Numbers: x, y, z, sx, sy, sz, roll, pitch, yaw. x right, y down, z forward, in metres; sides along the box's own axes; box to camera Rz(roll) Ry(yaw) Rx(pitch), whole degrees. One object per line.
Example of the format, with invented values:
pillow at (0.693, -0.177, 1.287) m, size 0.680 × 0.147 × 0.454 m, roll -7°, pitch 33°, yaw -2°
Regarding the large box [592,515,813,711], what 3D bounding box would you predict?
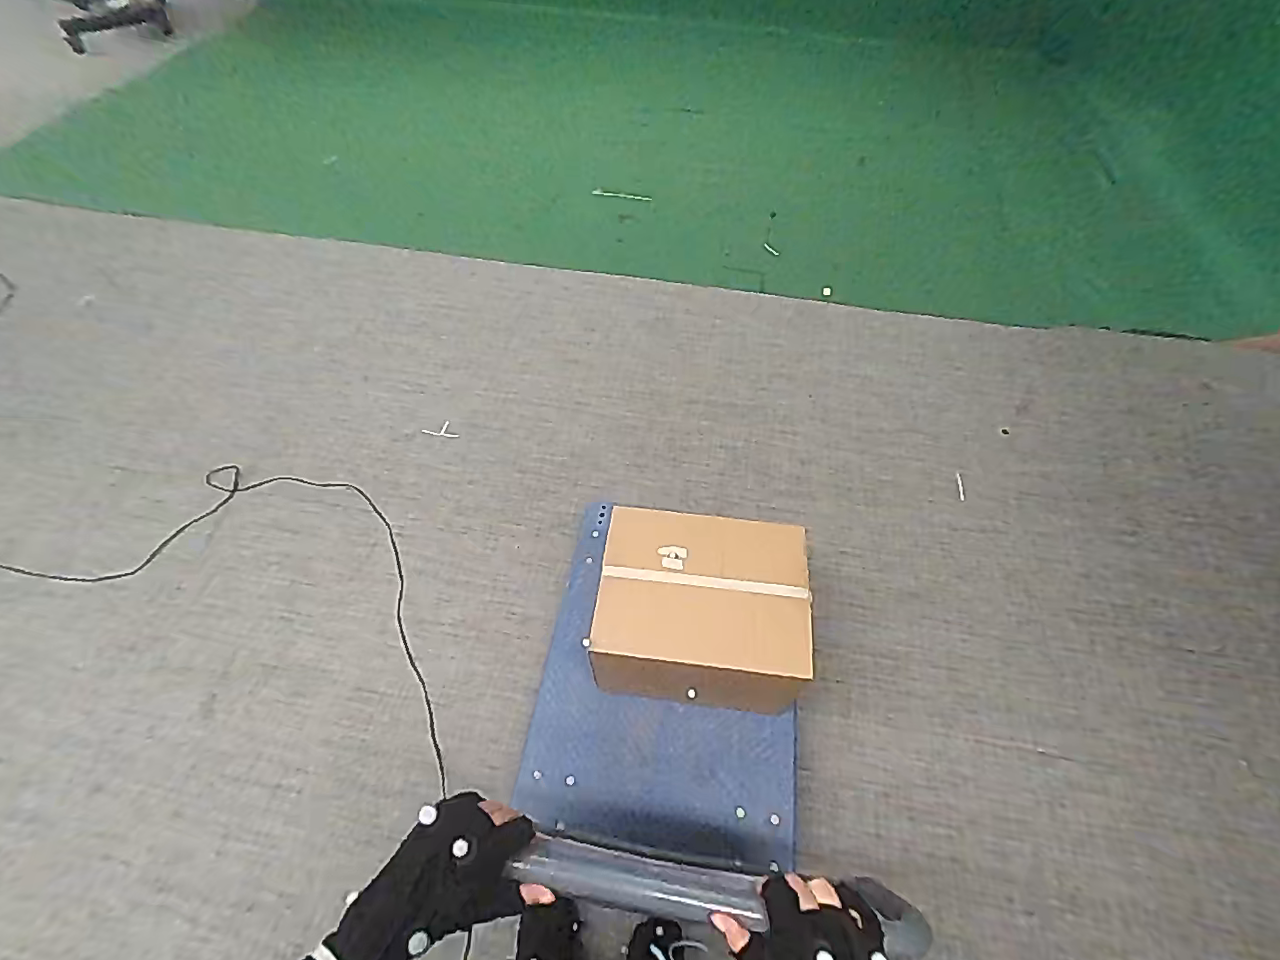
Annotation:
large box at (0.128, 0.296, 1.176) m, size 0.408 × 0.320 × 0.320 m, roll 5°, pitch 55°, yaw 4°
